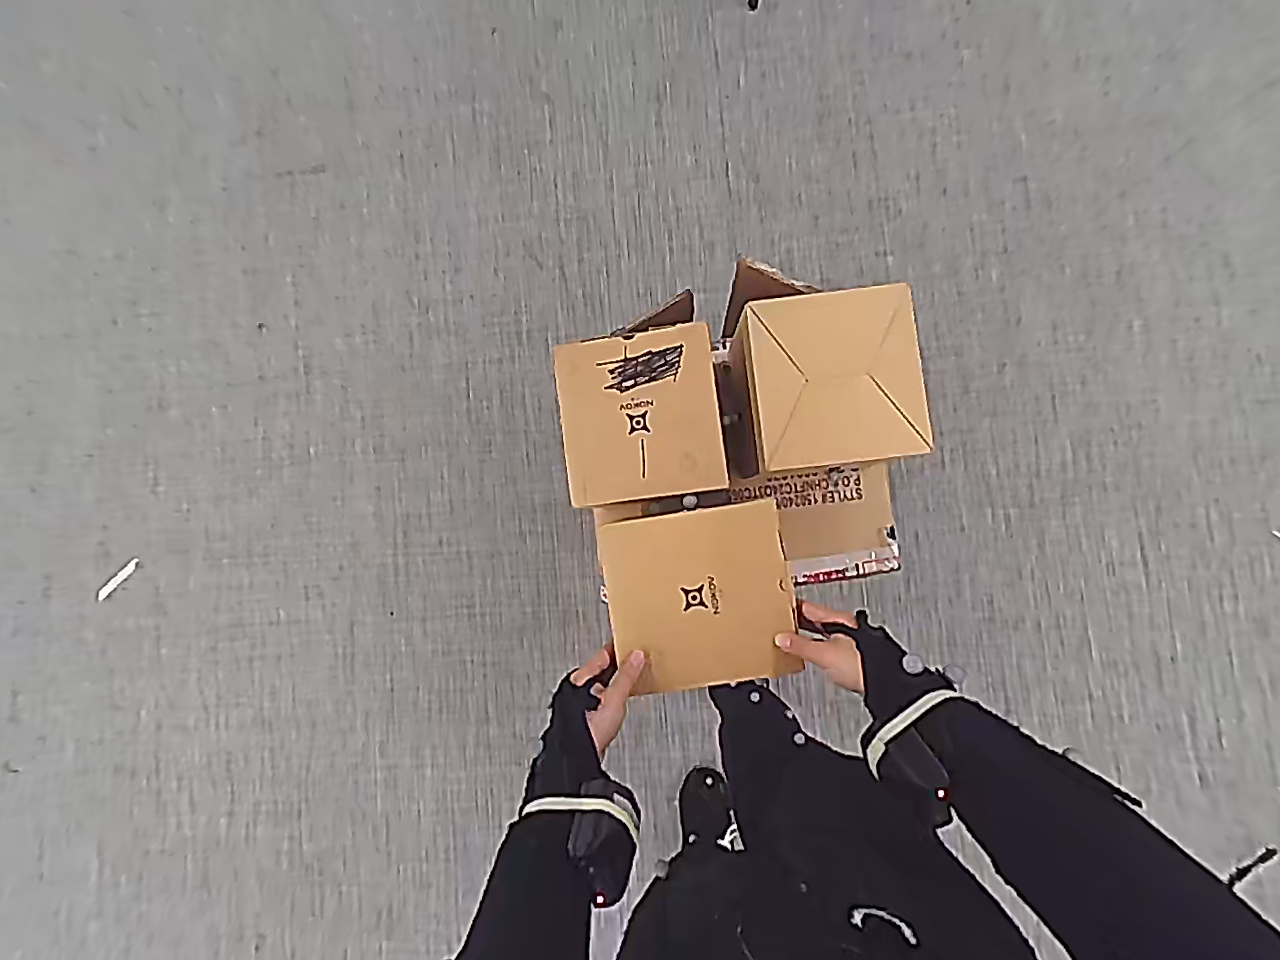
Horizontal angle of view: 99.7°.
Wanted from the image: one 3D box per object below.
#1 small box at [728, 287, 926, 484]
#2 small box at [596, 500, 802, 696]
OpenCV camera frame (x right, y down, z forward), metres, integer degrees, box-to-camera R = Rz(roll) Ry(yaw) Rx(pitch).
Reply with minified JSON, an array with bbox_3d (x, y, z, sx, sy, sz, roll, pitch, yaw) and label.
[{"bbox_3d":[0.201,-0.095,0.621,0.168,0.176,0.179,-7,86,2],"label":"small box"},{"bbox_3d":[0.058,0.118,0.591,0.179,0.176,0.168,-10,86,1],"label":"small box"}]
